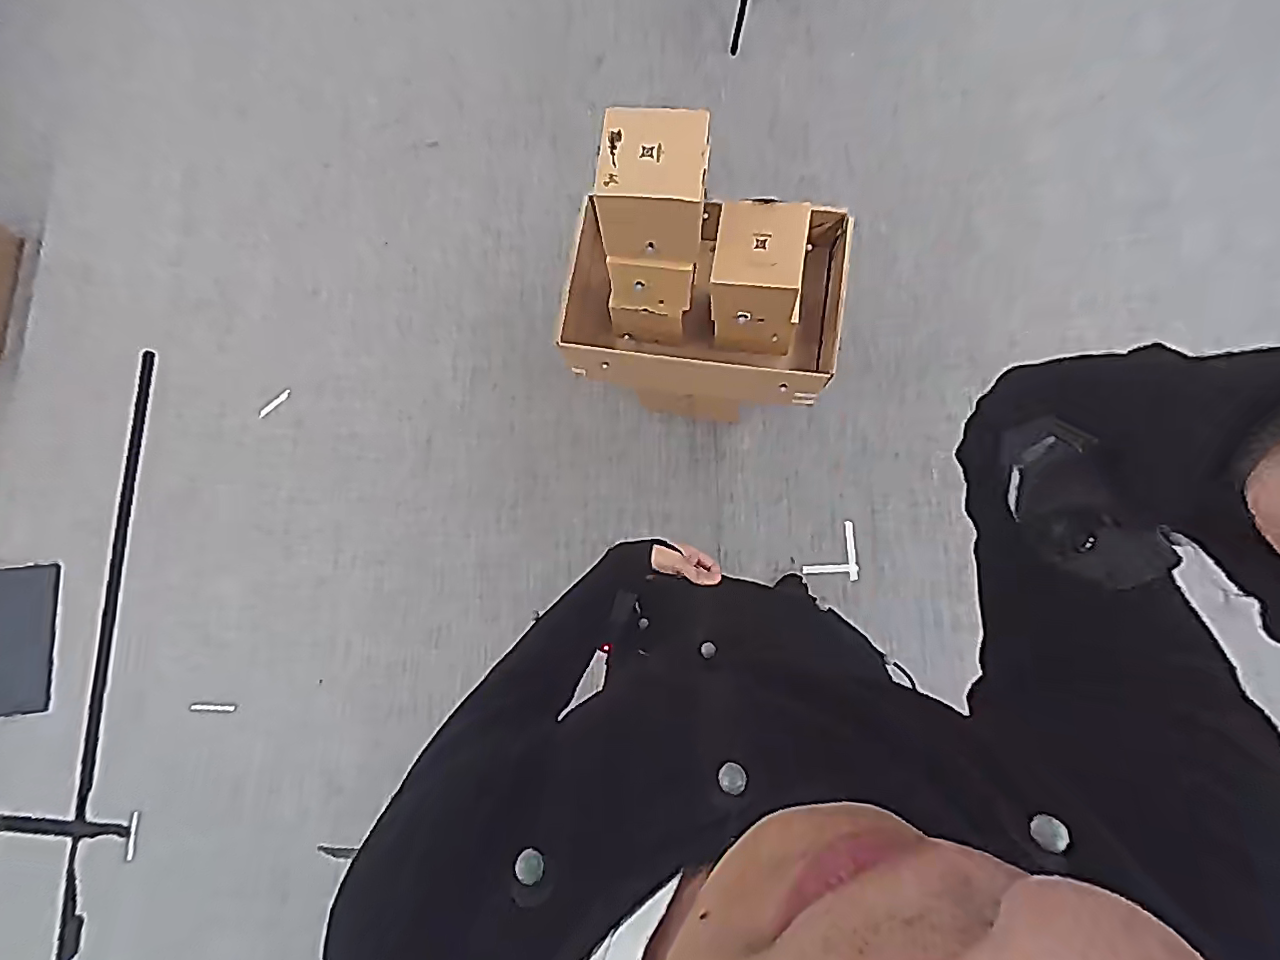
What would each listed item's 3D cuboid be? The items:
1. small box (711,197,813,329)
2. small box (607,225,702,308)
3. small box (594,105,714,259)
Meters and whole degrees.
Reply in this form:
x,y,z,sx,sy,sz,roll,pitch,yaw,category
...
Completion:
x,y,z,sx,sy,sz,roll,pitch,yaw,category
0.235,-0.424,1.071,0.168,0.176,0.179,9,81,10,small box
0.035,-0.471,1.103,0.168,0.176,0.179,8,81,5,small box
0.026,-0.508,0.944,0.179,0.176,0.168,7,80,4,small box
